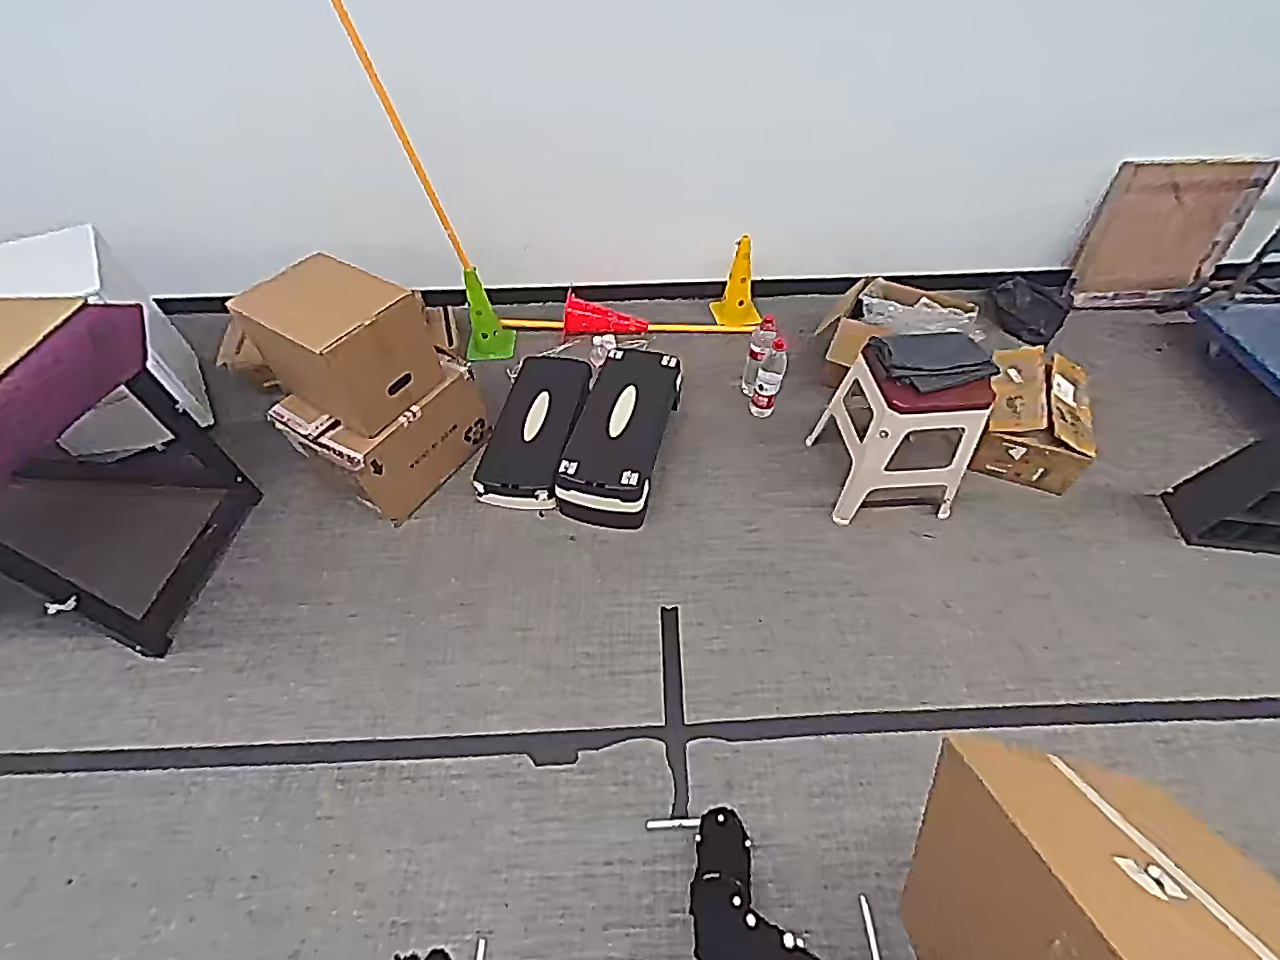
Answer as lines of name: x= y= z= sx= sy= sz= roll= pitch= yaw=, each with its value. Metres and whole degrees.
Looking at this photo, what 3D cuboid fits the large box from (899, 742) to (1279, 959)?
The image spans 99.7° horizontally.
large box: x=0.576 y=0.610 z=0.665 sx=0.320 sy=0.408 sz=0.320 roll=12 pitch=95 yaw=7
